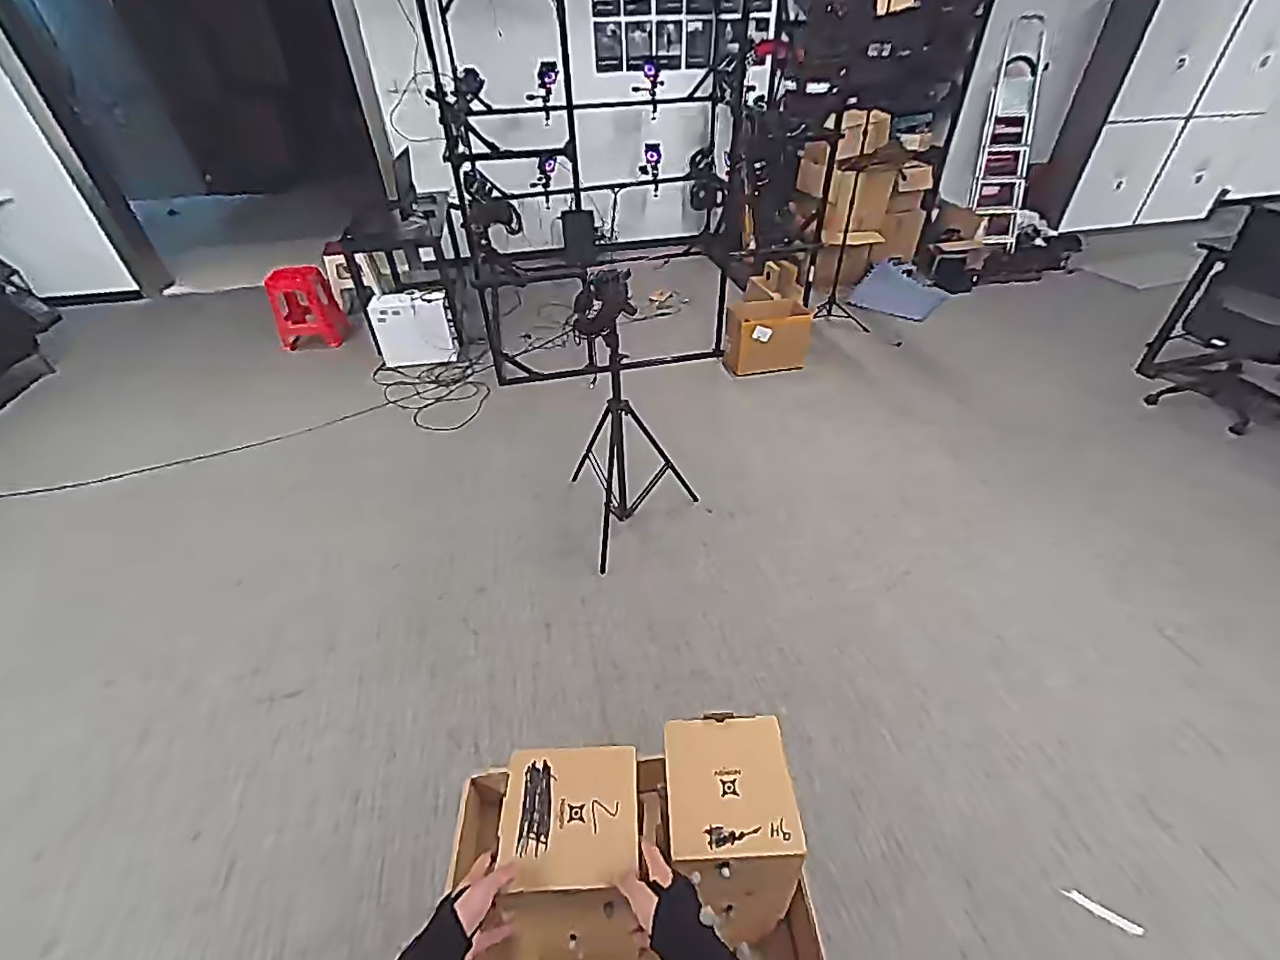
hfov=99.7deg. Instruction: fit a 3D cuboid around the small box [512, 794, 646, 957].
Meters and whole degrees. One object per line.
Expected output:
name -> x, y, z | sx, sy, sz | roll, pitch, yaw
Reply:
small box -> -0.083, 0.611, 0.835 | 0.179, 0.176, 0.168 | 1, 39, 2
